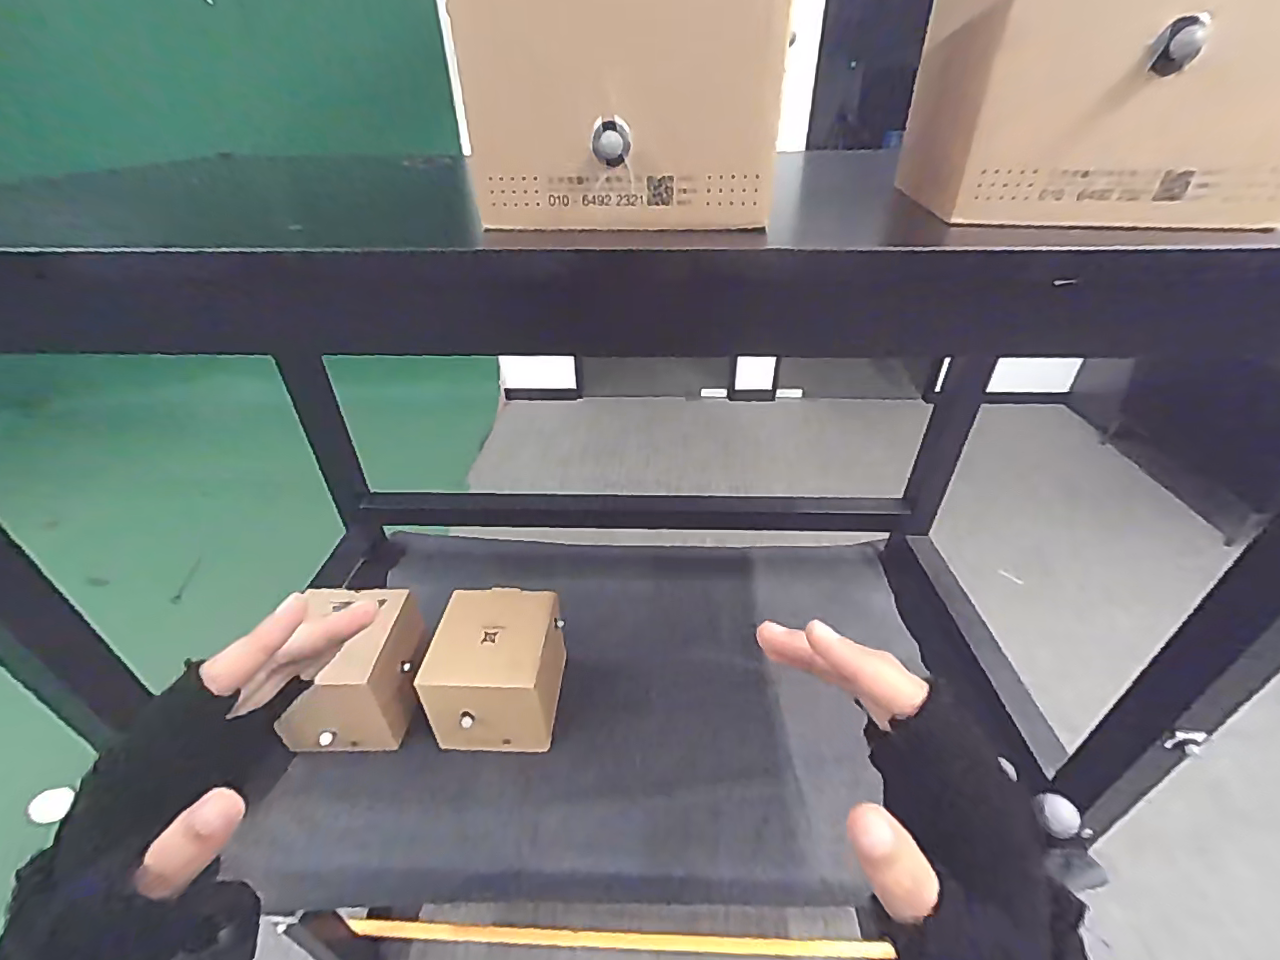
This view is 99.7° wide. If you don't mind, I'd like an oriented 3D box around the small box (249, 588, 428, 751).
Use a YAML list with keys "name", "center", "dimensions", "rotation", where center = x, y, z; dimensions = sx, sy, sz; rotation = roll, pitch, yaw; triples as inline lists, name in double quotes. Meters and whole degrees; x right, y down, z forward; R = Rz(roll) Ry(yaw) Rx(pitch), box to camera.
- name: "small box"
  center: [-0.442, 0.287, 0.833]
  dimensions: [0.168, 0.176, 0.179]
  rotation: [-1, 35, 0]

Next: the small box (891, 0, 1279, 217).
- name: "small box"
  center: [0.268, -0.261, 0.325]
  dimensions: [0.168, 0.176, 0.179]
  rotation: [6, 35, 9]

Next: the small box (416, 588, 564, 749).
- name: "small box"
  center: [-0.215, 0.288, 0.831]
  dimensions: [0.168, 0.176, 0.179]
  rotation: [1, 34, 2]
